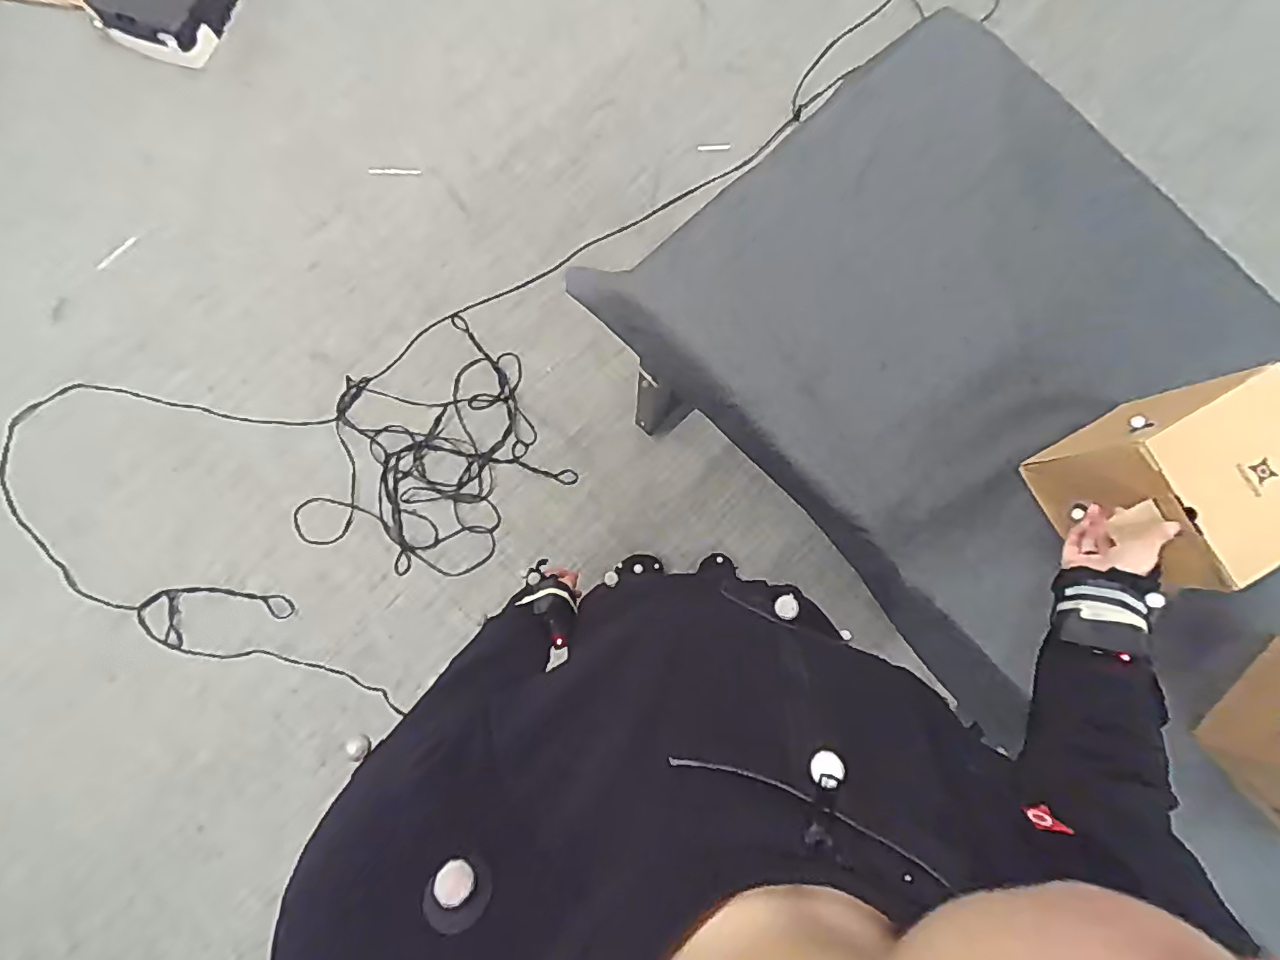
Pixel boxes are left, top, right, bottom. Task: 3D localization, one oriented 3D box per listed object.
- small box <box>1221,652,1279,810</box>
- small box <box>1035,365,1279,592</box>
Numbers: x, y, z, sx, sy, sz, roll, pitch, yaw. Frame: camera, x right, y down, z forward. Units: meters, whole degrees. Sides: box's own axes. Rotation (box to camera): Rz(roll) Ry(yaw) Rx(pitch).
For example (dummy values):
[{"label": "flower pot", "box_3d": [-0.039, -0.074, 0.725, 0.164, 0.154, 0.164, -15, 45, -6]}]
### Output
[{"label": "small box", "box_3d": [0.781, 0.294, 0.558, 0.179, 0.176, 0.168, -42, 87, -8]}, {"label": "small box", "box_3d": [0.595, 0.001, 0.588, 0.179, 0.176, 0.168, -29, 85, -4]}]
